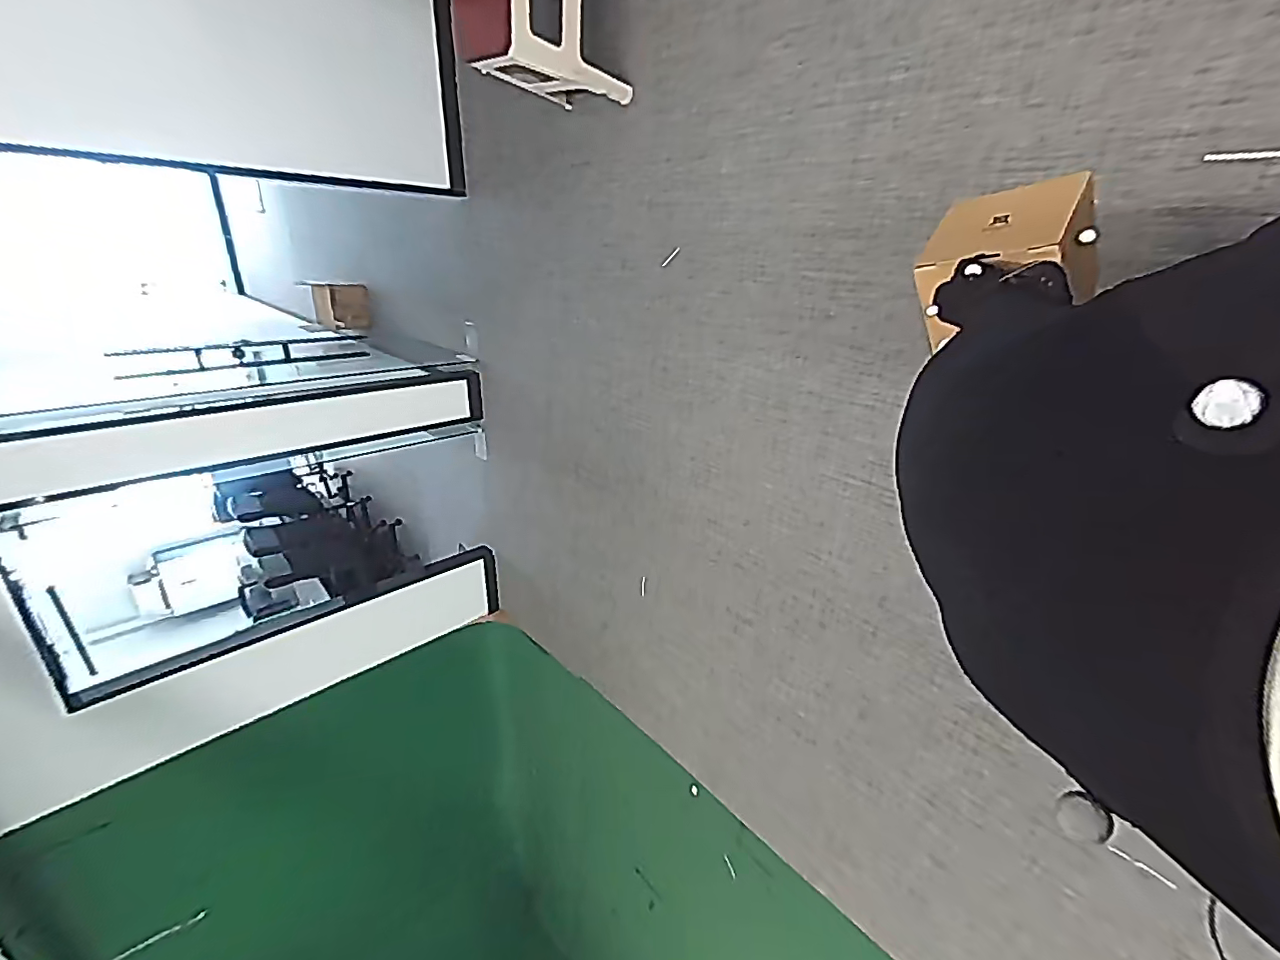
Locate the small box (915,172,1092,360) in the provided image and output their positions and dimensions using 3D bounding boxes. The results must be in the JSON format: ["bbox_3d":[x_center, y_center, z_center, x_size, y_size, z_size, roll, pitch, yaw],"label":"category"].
[{"bbox_3d":[0.520,-0.293,0.769,0.168,0.179,0.176,9,143,47],"label":"small box"}]
